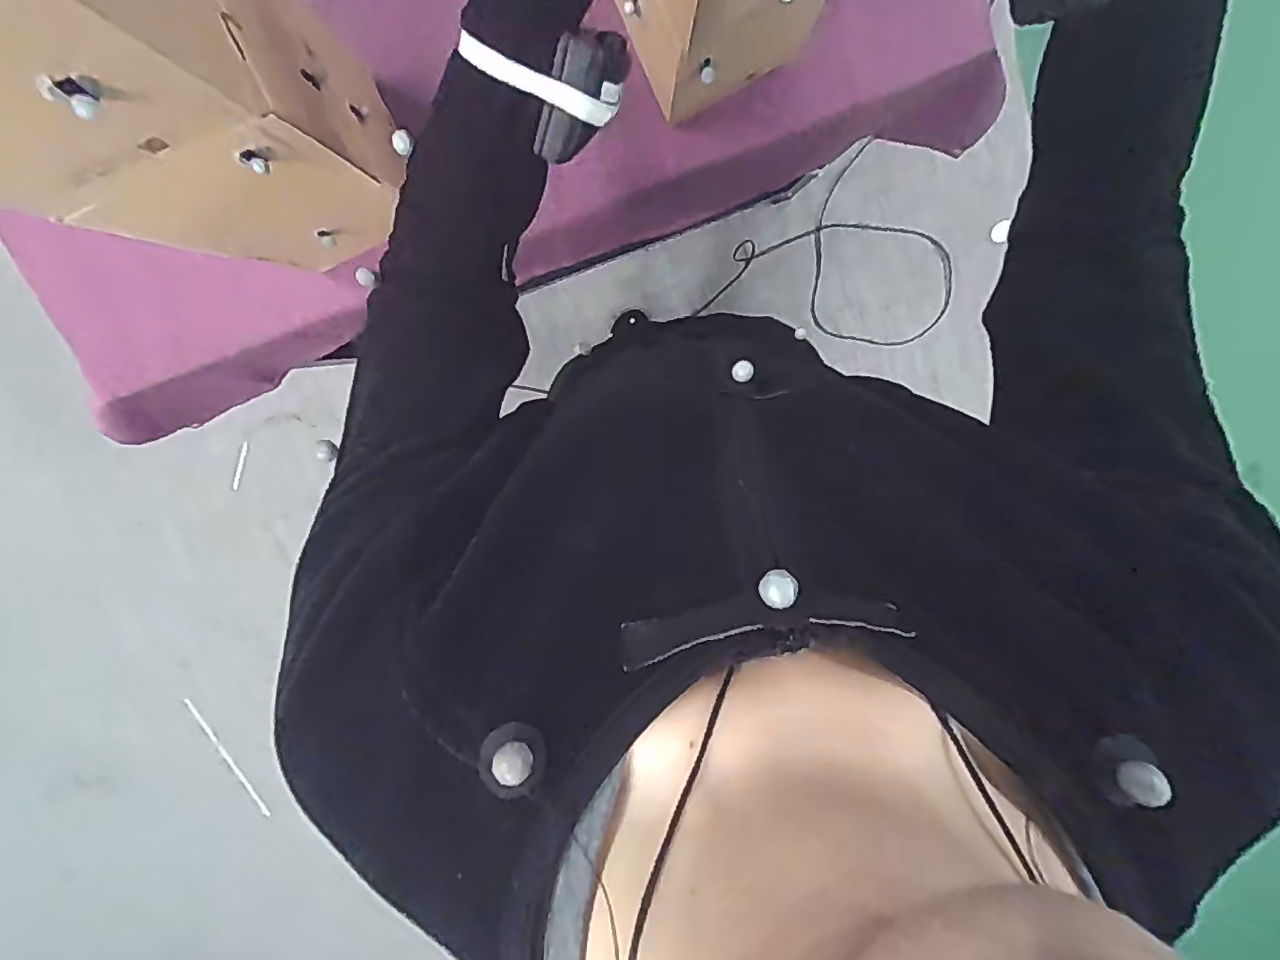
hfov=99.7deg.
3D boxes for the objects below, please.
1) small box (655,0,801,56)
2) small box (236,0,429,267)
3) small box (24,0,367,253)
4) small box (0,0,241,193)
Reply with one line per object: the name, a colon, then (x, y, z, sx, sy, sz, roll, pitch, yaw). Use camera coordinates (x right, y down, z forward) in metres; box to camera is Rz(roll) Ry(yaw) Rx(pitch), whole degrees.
small box: (0.072, -0.468, 0.387, 0.168, 0.176, 0.179, -26, 103, 6)
small box: (-0.363, -0.346, 0.579, 0.179, 0.176, 0.168, -23, 104, 5)
small box: (-0.359, -0.300, 0.422, 0.179, 0.176, 0.168, -22, 102, 3)
small box: (-0.354, -0.266, 0.264, 0.168, 0.176, 0.179, -21, 102, 2)
